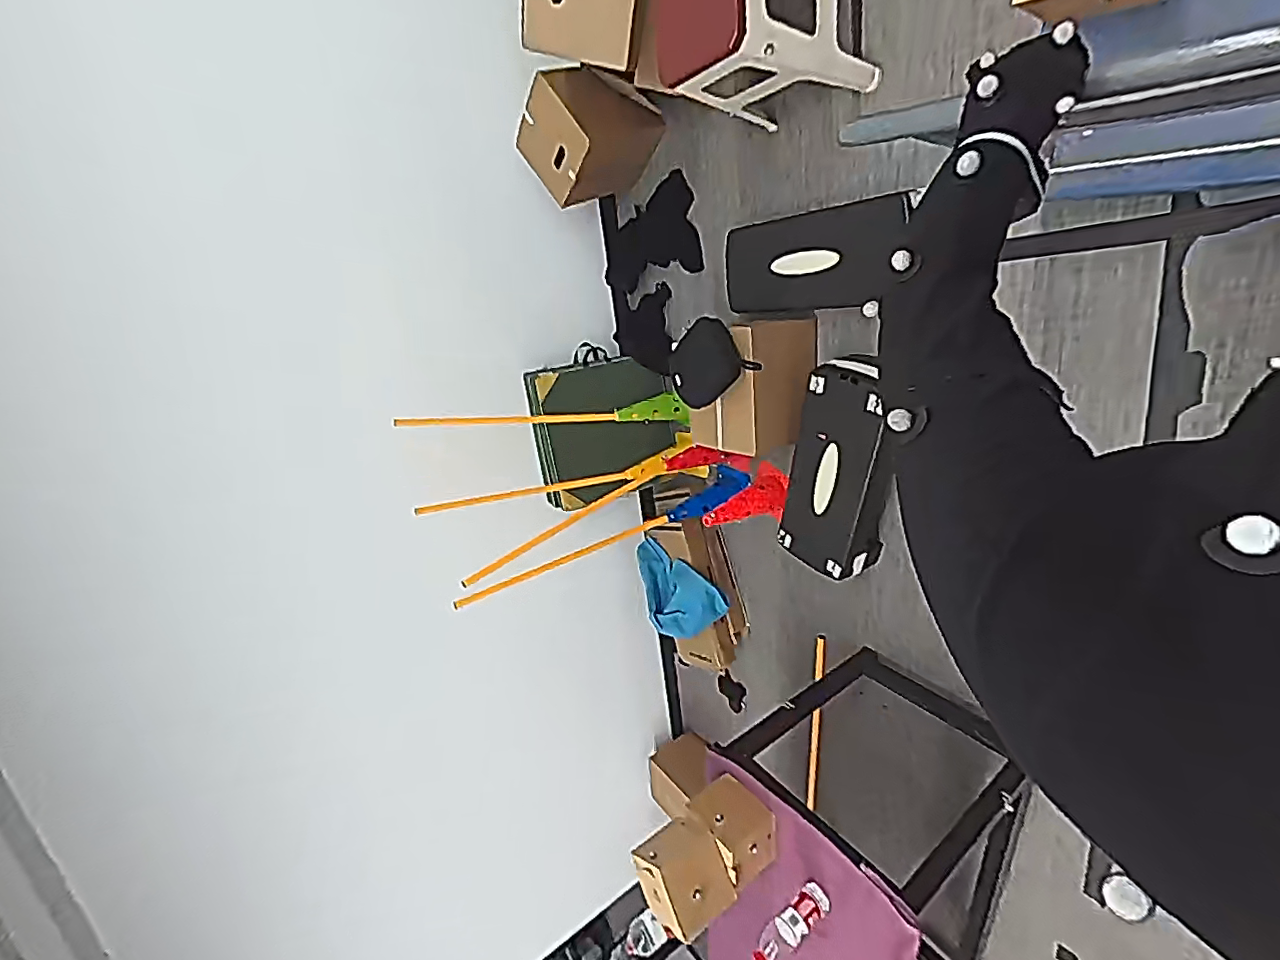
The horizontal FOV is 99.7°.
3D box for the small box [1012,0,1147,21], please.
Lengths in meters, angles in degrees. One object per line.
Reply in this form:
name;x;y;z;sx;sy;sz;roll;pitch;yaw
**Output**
small box;0.723;-0.845;0.833;0.179;0.176;0.168;28;127;46
